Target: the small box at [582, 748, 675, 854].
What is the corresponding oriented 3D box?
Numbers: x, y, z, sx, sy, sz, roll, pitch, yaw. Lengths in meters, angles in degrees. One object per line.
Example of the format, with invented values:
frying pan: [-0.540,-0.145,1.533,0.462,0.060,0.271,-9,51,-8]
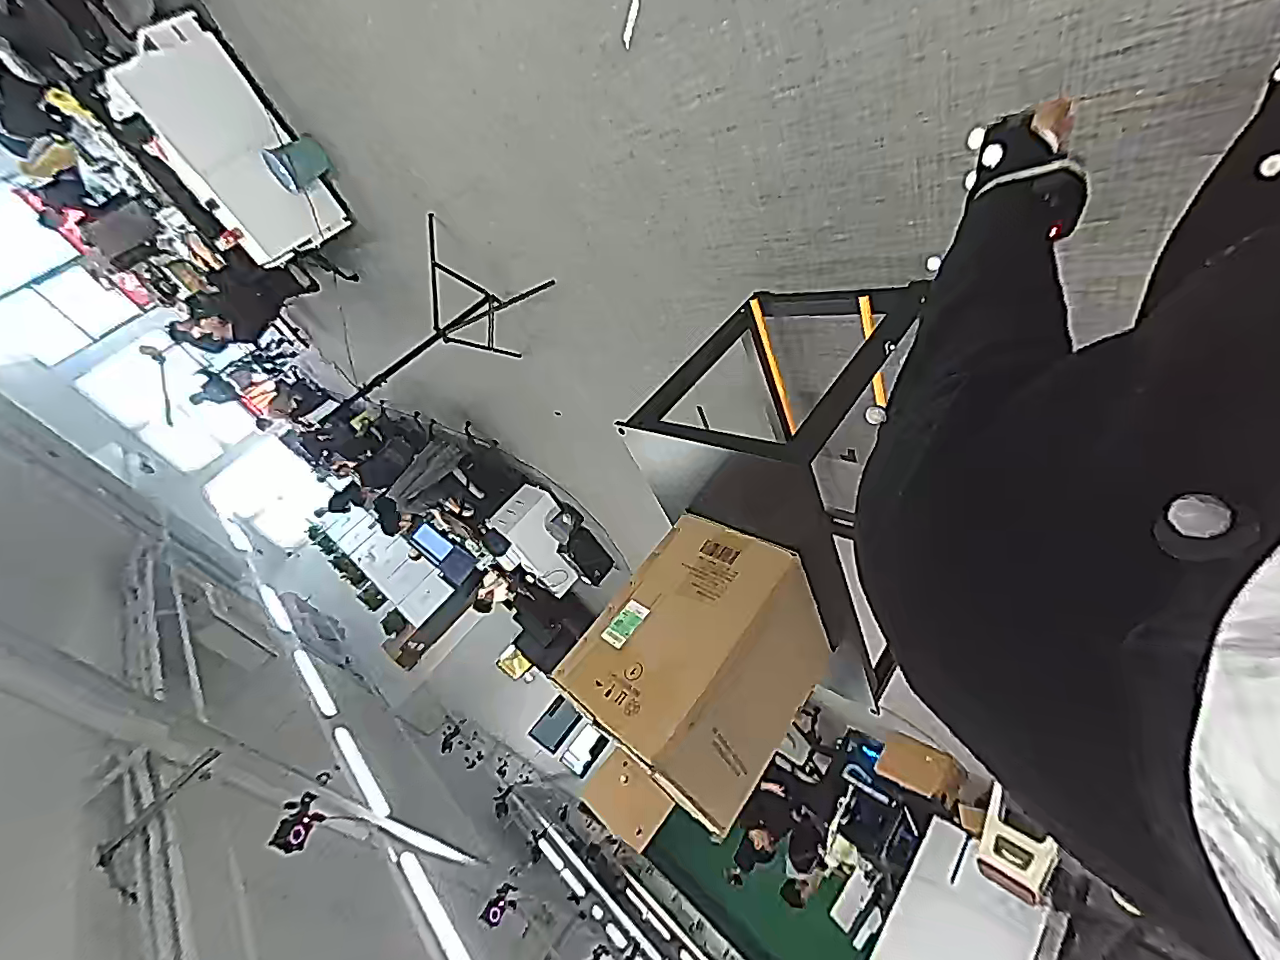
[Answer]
small box: [-0.026,0.908,1.541,0.168,0.176,0.179,20,148,45]
